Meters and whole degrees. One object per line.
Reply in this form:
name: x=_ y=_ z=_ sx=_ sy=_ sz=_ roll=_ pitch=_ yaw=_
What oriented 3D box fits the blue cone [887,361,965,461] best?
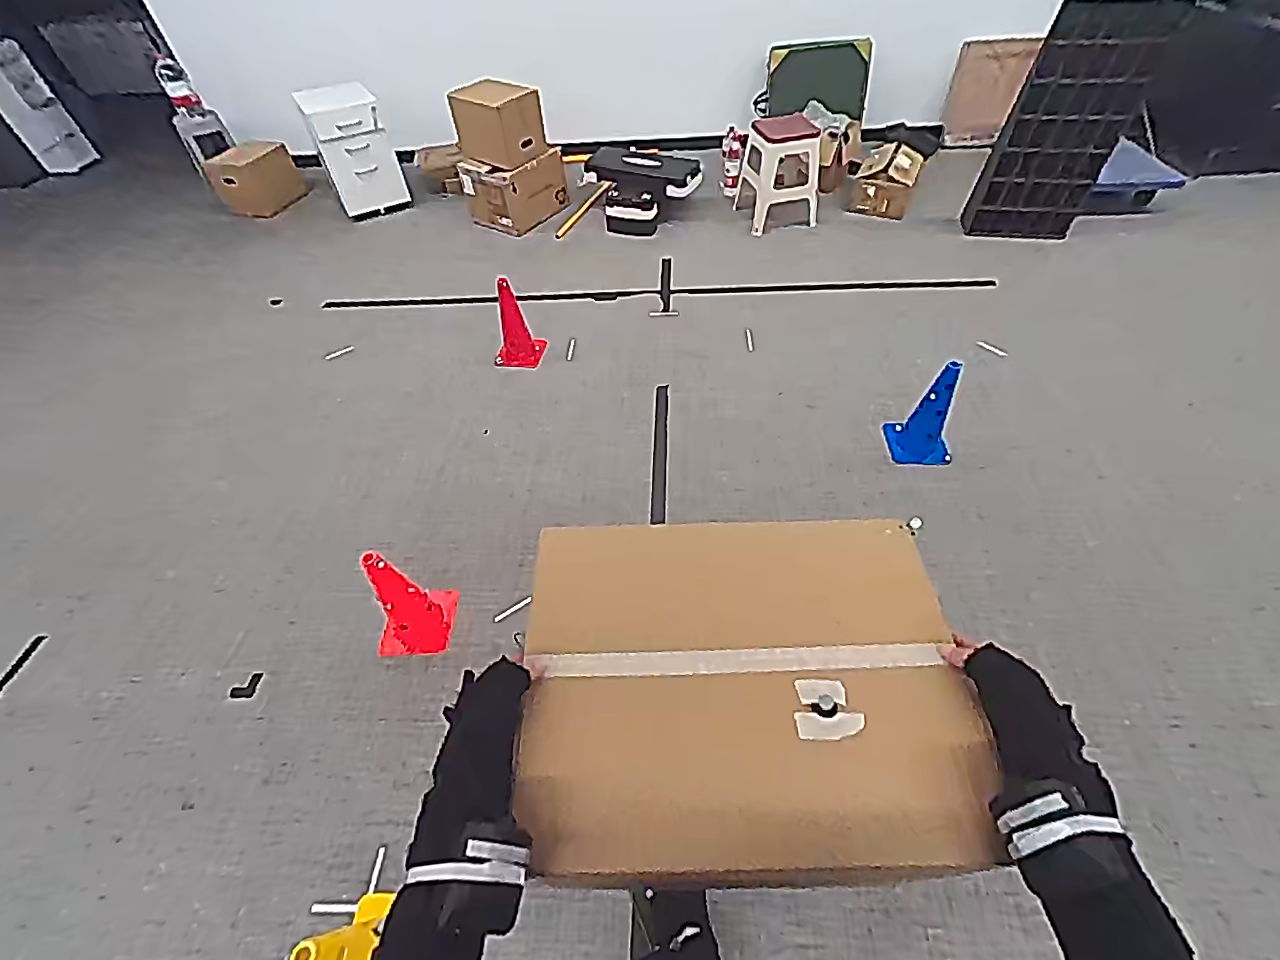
blue cone: x=1.001 y=-0.245 z=1.841 sx=0.192 sy=0.380 sz=0.193 roll=3 pitch=50 yaw=5

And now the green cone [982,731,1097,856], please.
green cone: x=0.812 y=0.600 z=1.113 sx=0.202 sy=0.368 sz=0.200 roll=-29 pitch=55 yaw=-21

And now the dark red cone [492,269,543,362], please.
dark red cone: x=-0.547 y=-0.695 z=2.279 sx=0.201 sy=0.394 sz=0.202 roll=5 pitch=50 yaw=6

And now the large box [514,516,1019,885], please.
large box: x=0.096 y=0.260 z=0.626 sx=0.408 sy=0.320 sz=0.320 roll=-2 pitch=51 yaw=0

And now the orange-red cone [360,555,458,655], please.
orange-red cone: x=-0.657 y=0.311 z=1.463 sx=0.198 sy=0.360 sz=0.199 roll=-3 pitch=51 yaw=3
